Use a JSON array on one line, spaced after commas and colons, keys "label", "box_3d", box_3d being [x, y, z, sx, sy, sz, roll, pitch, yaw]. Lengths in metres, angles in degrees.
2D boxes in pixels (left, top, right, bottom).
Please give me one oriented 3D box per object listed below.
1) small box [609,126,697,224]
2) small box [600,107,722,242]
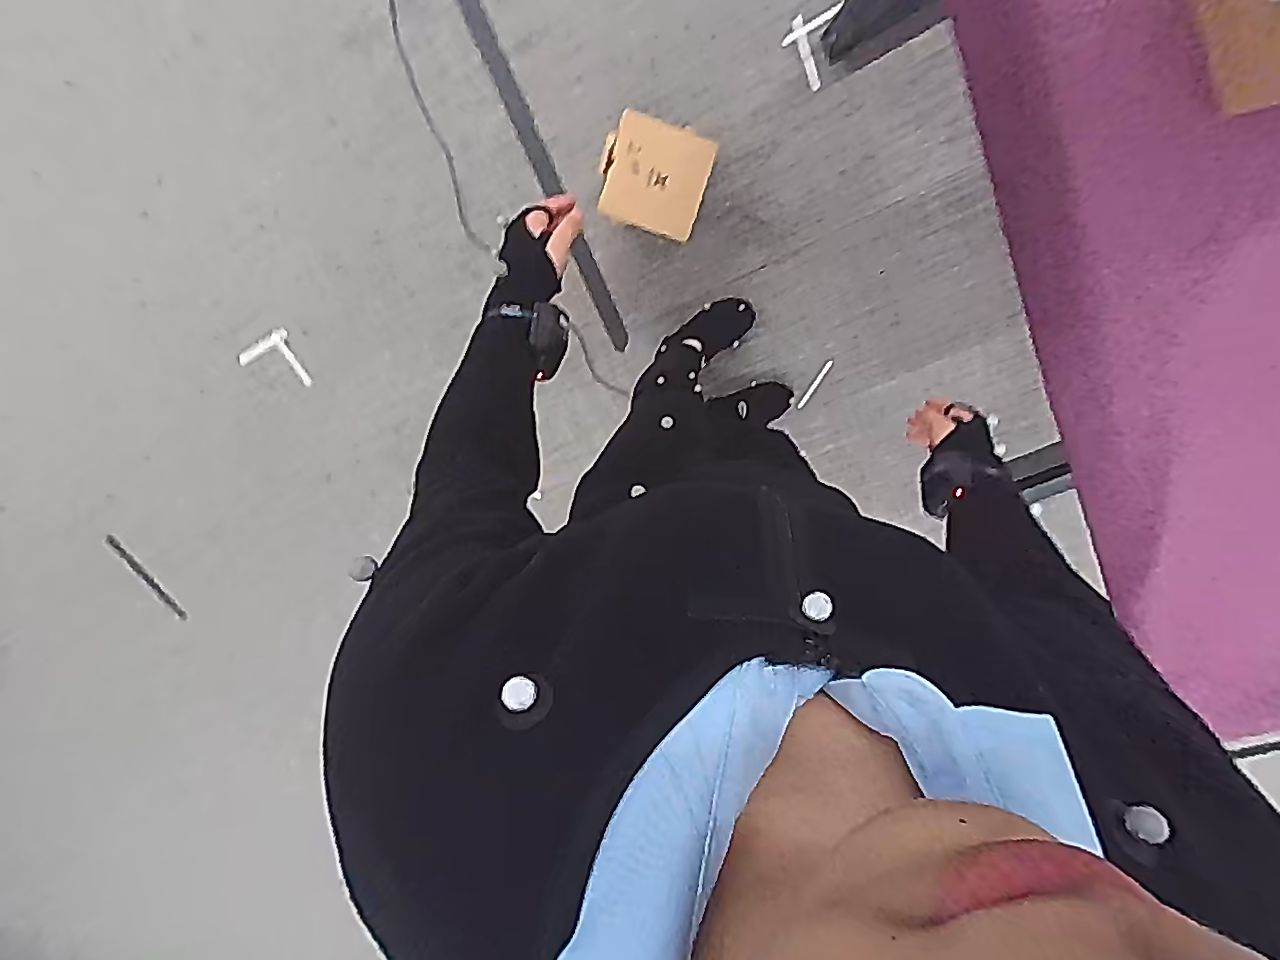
[{"label": "small box", "box_3d": [0.035, -0.647, 1.162, 0.179, 0.176, 0.168, -1, 114, 5]}, {"label": "small box", "box_3d": [0.040, -0.564, 1.018, 0.179, 0.176, 0.168, 19, 114, -4]}]
